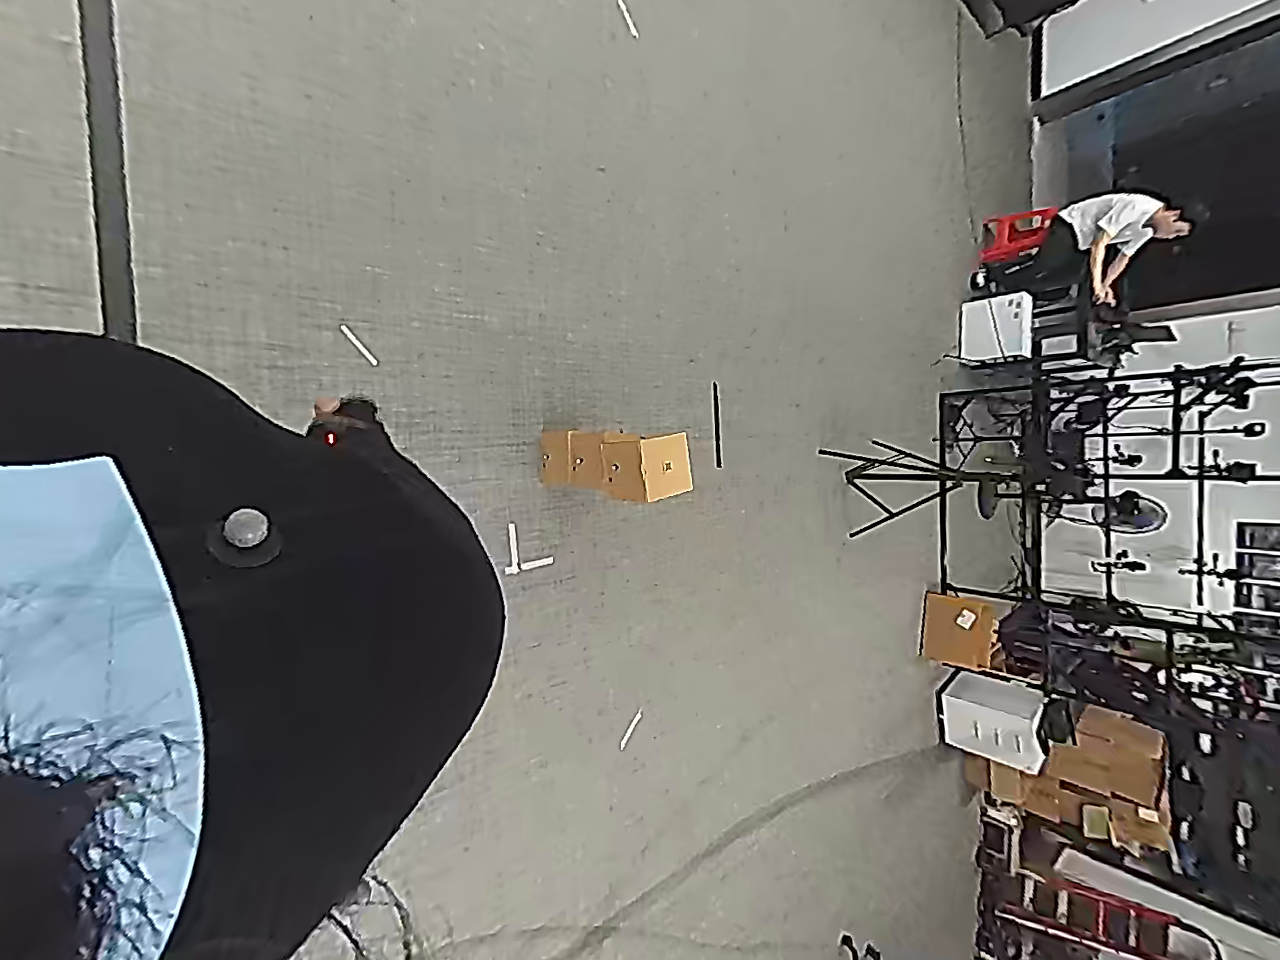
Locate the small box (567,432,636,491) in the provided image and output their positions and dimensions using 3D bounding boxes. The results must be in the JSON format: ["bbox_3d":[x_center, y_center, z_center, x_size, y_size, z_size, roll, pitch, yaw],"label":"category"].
[{"bbox_3d":[-0.100,-0.053,1.620,0.179,0.176,0.168,0,90,-41],"label":"small box"}]

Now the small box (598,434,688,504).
[{"bbox_3d":[0.009,-0.036,1.500,0.179,0.176,0.168,-15,101,-40],"label":"small box"}]
